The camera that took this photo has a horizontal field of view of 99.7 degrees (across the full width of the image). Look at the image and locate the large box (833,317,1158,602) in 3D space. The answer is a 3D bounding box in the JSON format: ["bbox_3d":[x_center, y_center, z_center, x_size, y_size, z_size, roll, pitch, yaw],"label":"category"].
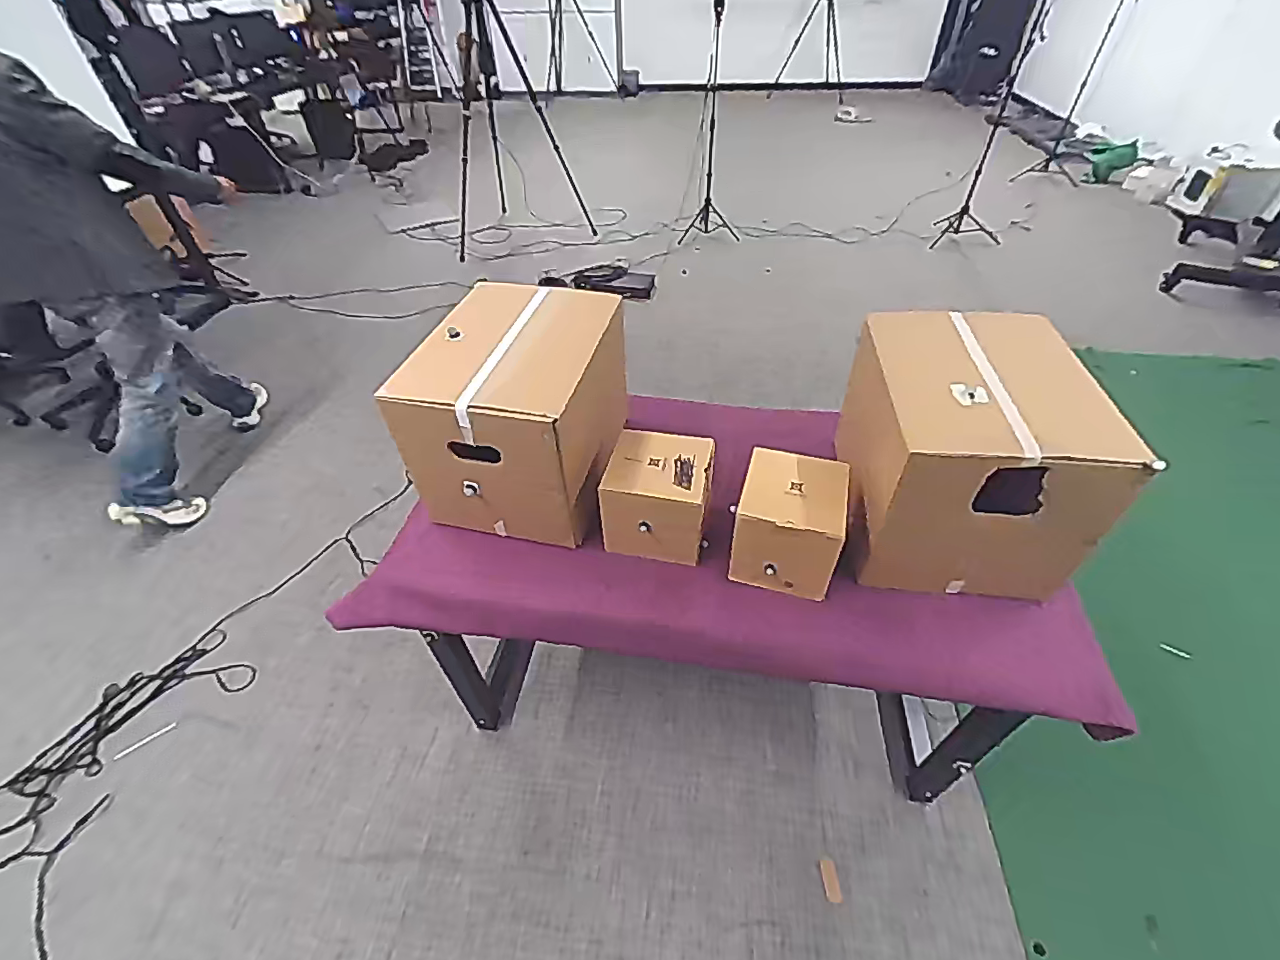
[{"bbox_3d":[0.551,-0.049,0.958,0.320,0.320,0.408,3,45,8],"label":"large box"}]
